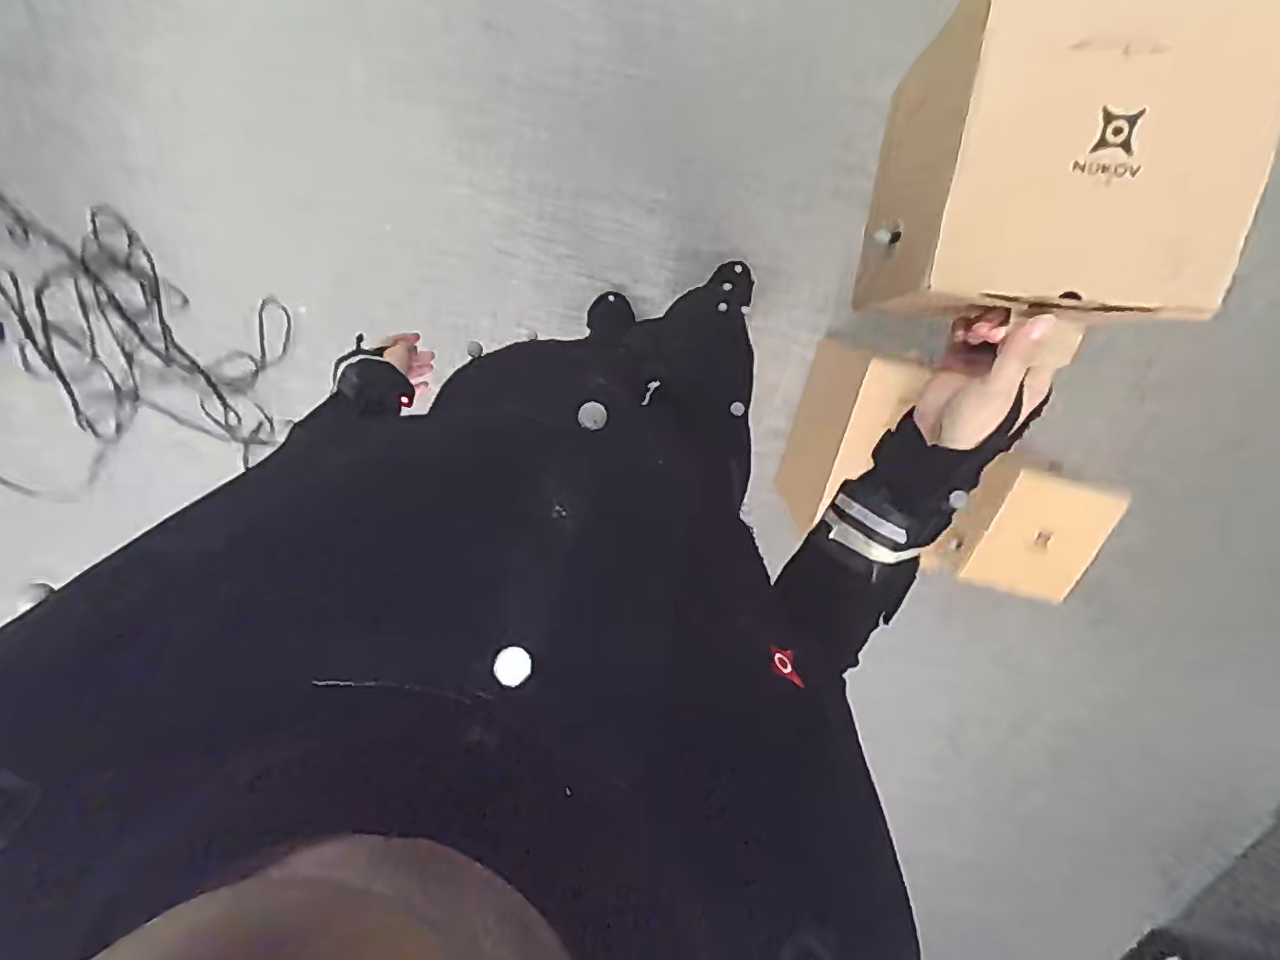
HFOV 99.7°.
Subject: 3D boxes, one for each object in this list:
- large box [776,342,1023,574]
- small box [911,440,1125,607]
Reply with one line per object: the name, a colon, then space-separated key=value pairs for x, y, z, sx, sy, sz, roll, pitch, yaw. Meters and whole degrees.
large box: x=0.534 y=-0.063 z=1.207 sx=0.320 sy=0.320 sz=0.408 roll=11 pitch=113 yaw=-2
small box: x=0.547 y=0.057 z=0.816 sx=0.168 sy=0.176 sz=0.179 roll=14 pitch=113 yaw=-5
